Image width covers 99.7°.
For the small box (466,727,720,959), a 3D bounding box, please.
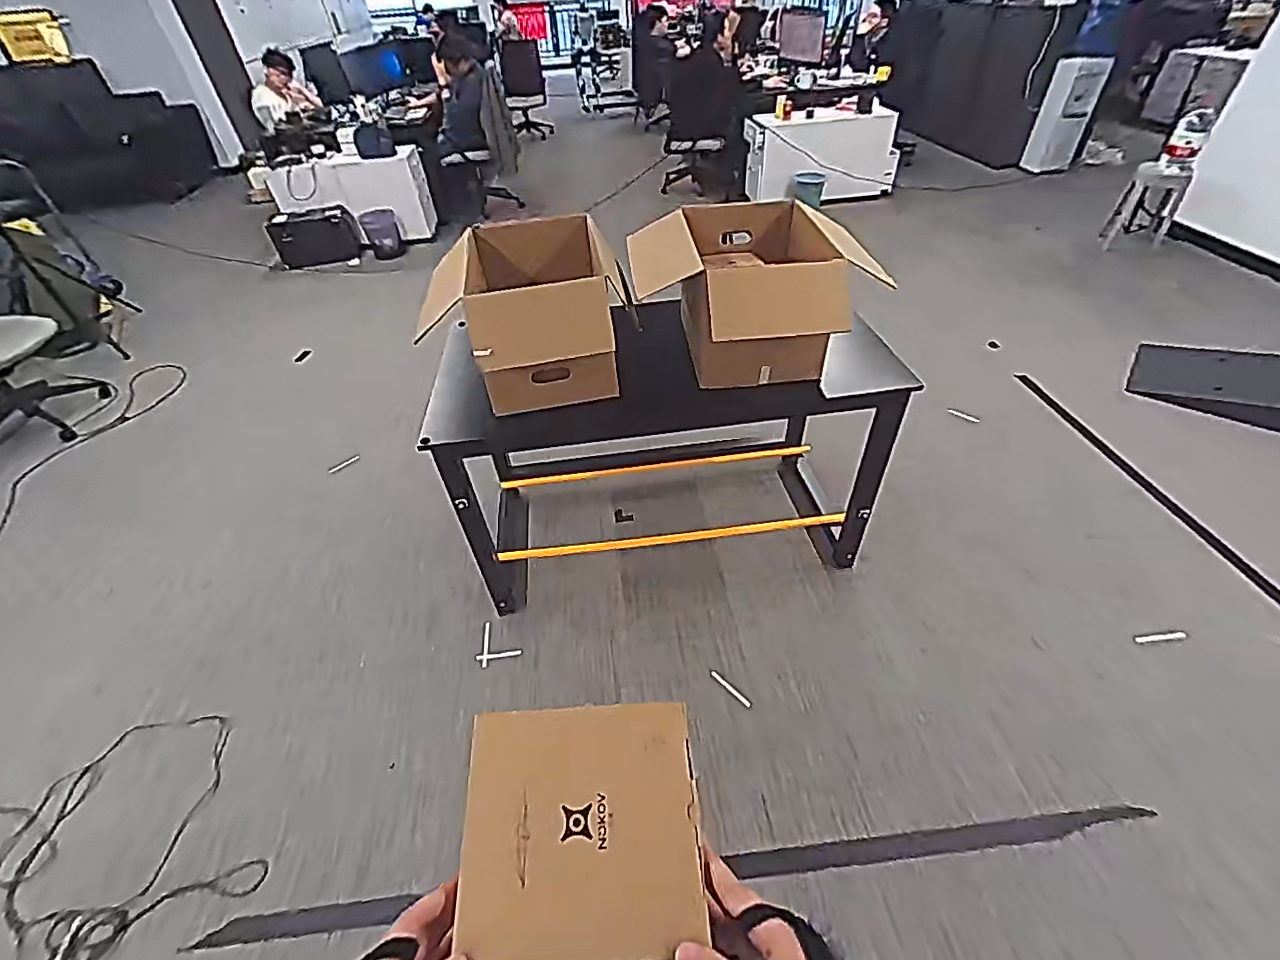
[{"bbox_3d":[-0.039,0.327,0.470,0.179,0.176,0.168,-4,51,-3],"label":"small box"}]
